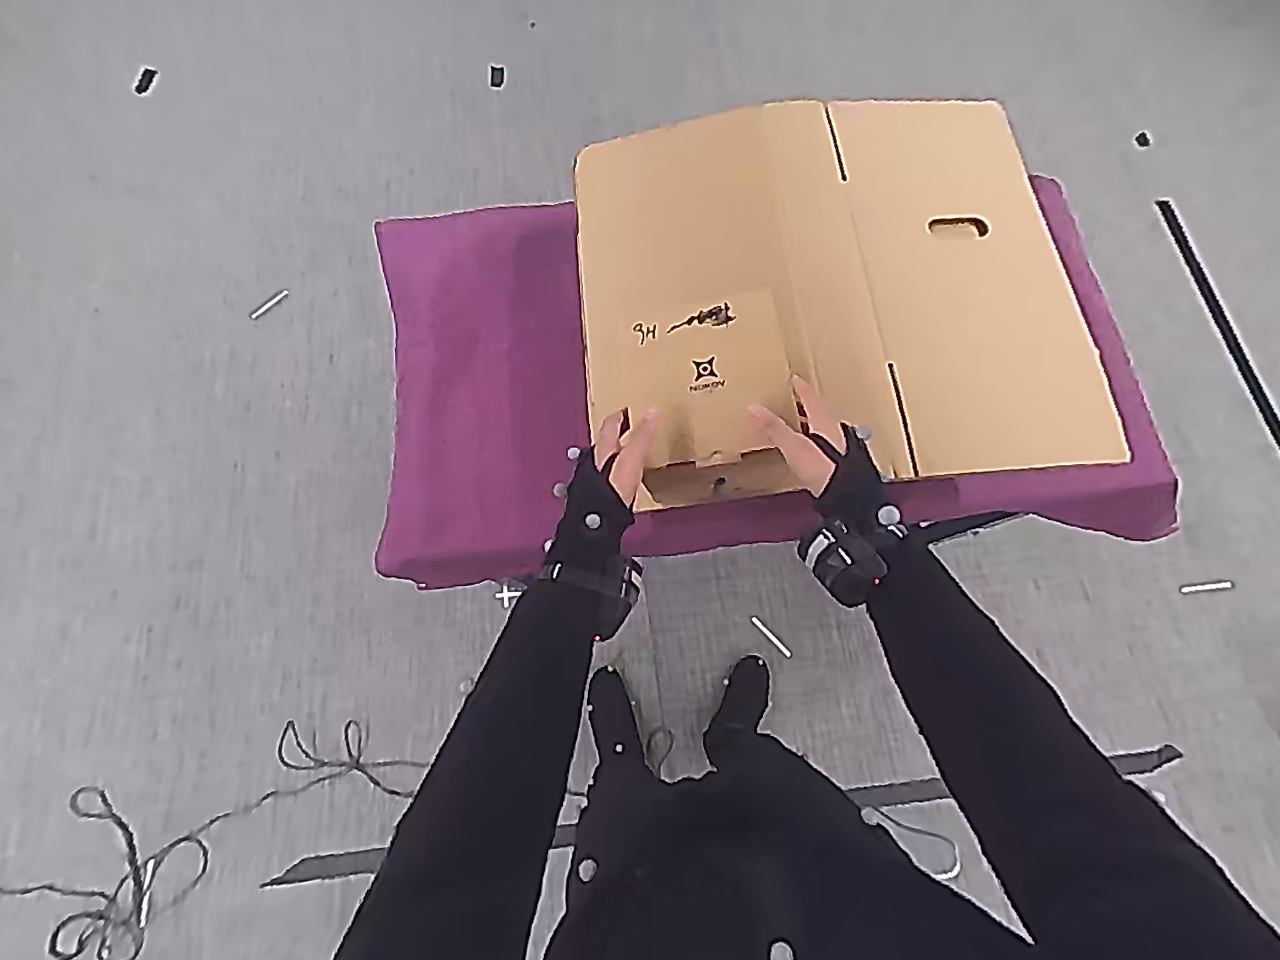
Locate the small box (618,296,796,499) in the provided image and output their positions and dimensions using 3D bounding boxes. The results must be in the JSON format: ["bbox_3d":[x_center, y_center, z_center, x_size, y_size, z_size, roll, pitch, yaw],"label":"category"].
[{"bbox_3d":[0.078,-0.079,0.627,0.168,0.176,0.179,-8,76,7],"label":"small box"}]
